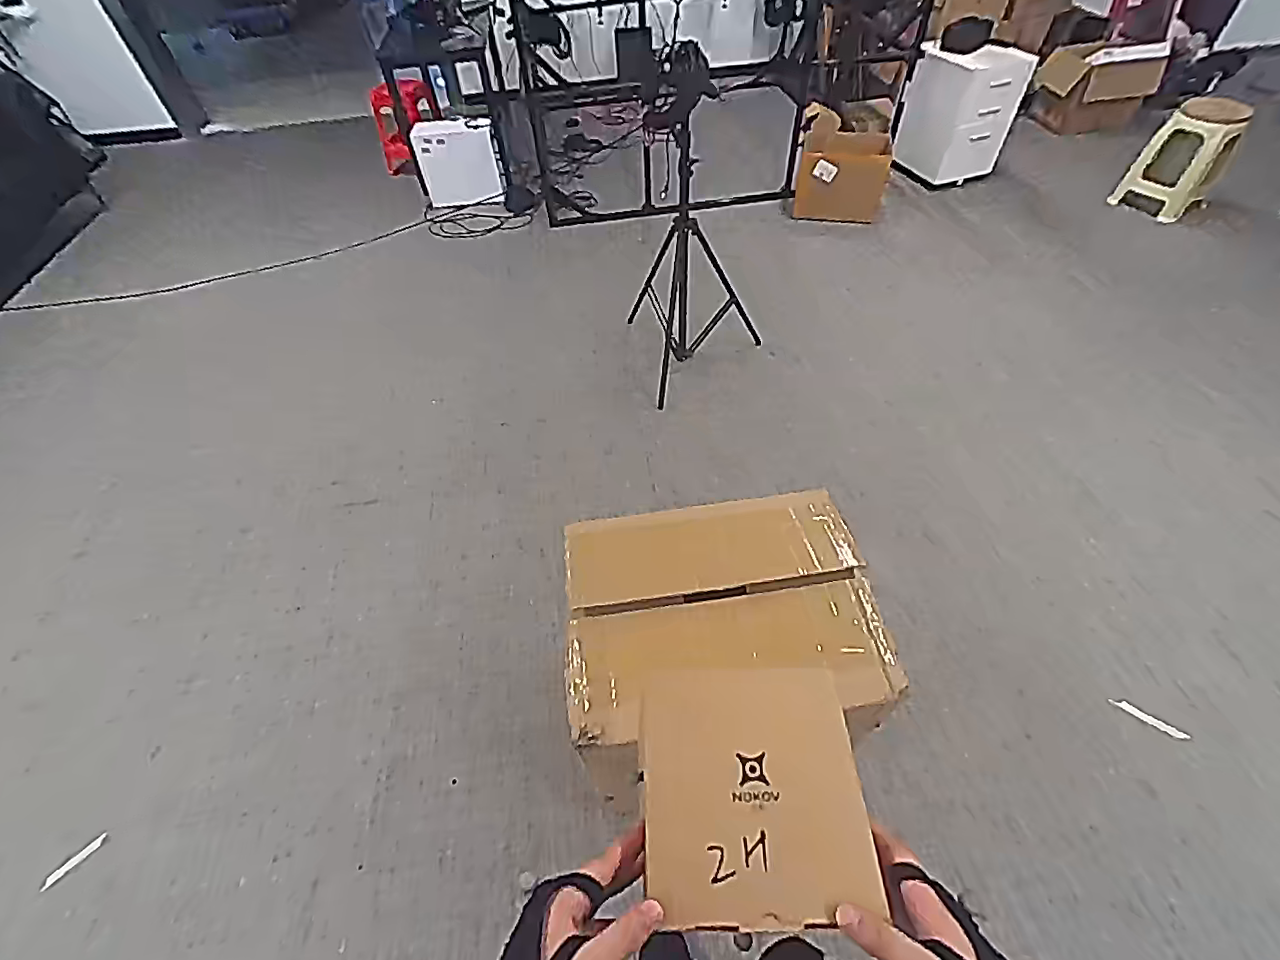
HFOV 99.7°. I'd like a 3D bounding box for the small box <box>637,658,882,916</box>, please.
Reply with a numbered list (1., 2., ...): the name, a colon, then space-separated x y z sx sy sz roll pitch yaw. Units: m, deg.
1. small box: 0.082 0.275 0.482 0.168 0.176 0.179 0 51 -1
